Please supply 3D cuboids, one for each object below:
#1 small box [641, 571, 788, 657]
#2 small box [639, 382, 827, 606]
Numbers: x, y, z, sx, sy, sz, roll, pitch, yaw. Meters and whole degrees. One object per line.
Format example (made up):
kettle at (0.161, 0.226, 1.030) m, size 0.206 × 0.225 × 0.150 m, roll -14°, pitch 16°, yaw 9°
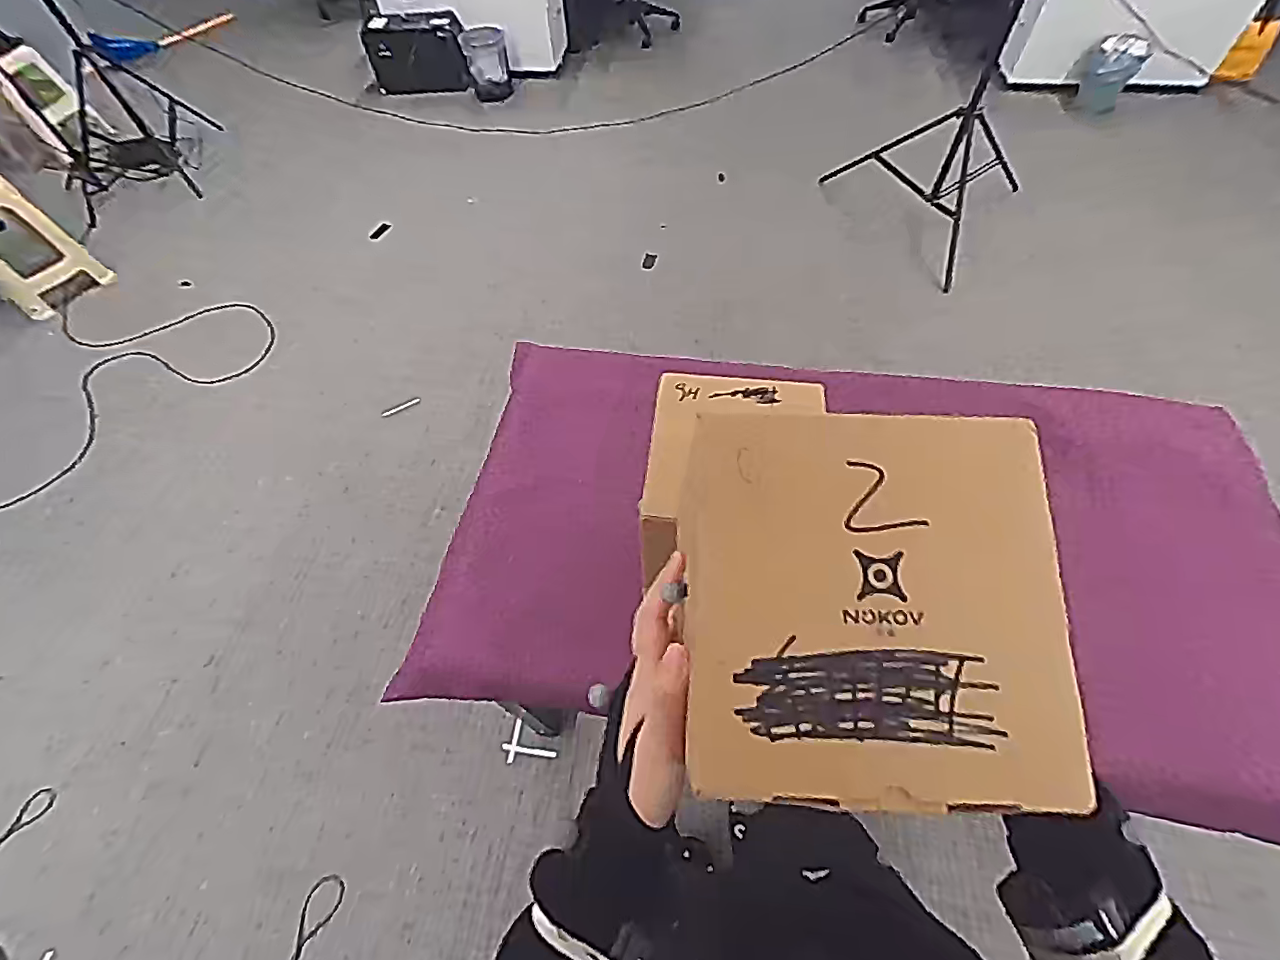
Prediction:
small box at (0.100, 0.117, 0.709) m, size 0.168 × 0.176 × 0.179 m, roll 8°, pitch 56°, yaw 7°
small box at (0.094, 0.021, 0.576) m, size 0.168 × 0.176 × 0.179 m, roll 6°, pitch 57°, yaw 5°
